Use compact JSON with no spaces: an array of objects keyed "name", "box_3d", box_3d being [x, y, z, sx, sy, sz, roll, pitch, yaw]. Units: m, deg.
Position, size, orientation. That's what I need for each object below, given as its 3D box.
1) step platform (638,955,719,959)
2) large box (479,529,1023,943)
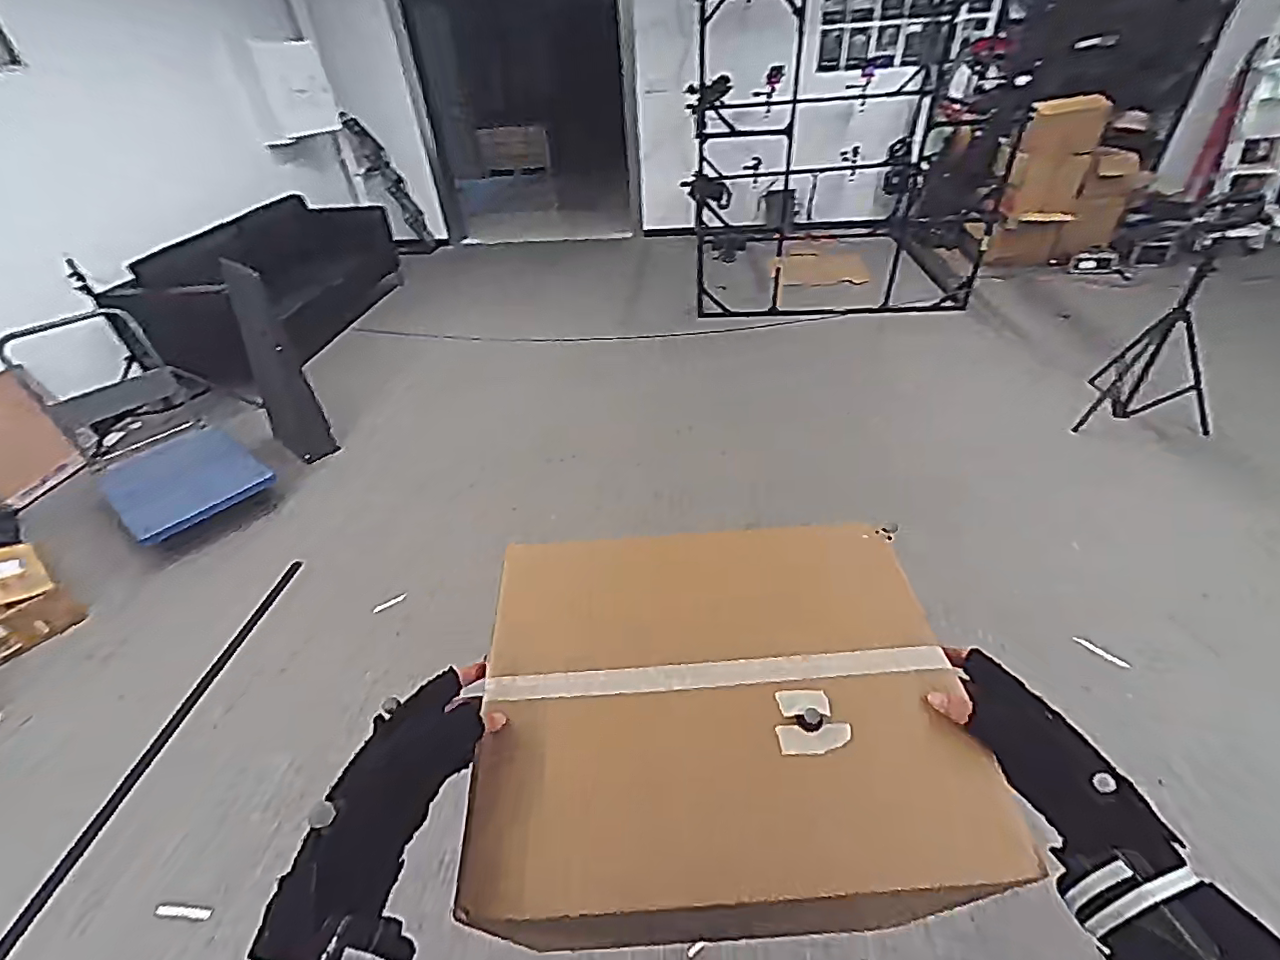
[{"name":"step platform","box_3d":[0.089,1.288,0.949,0.286,0.204,0.684,-1,37,4]},{"name":"large box","box_3d":[0.075,0.279,0.593,0.408,0.320,0.320,-3,46,-1]}]
